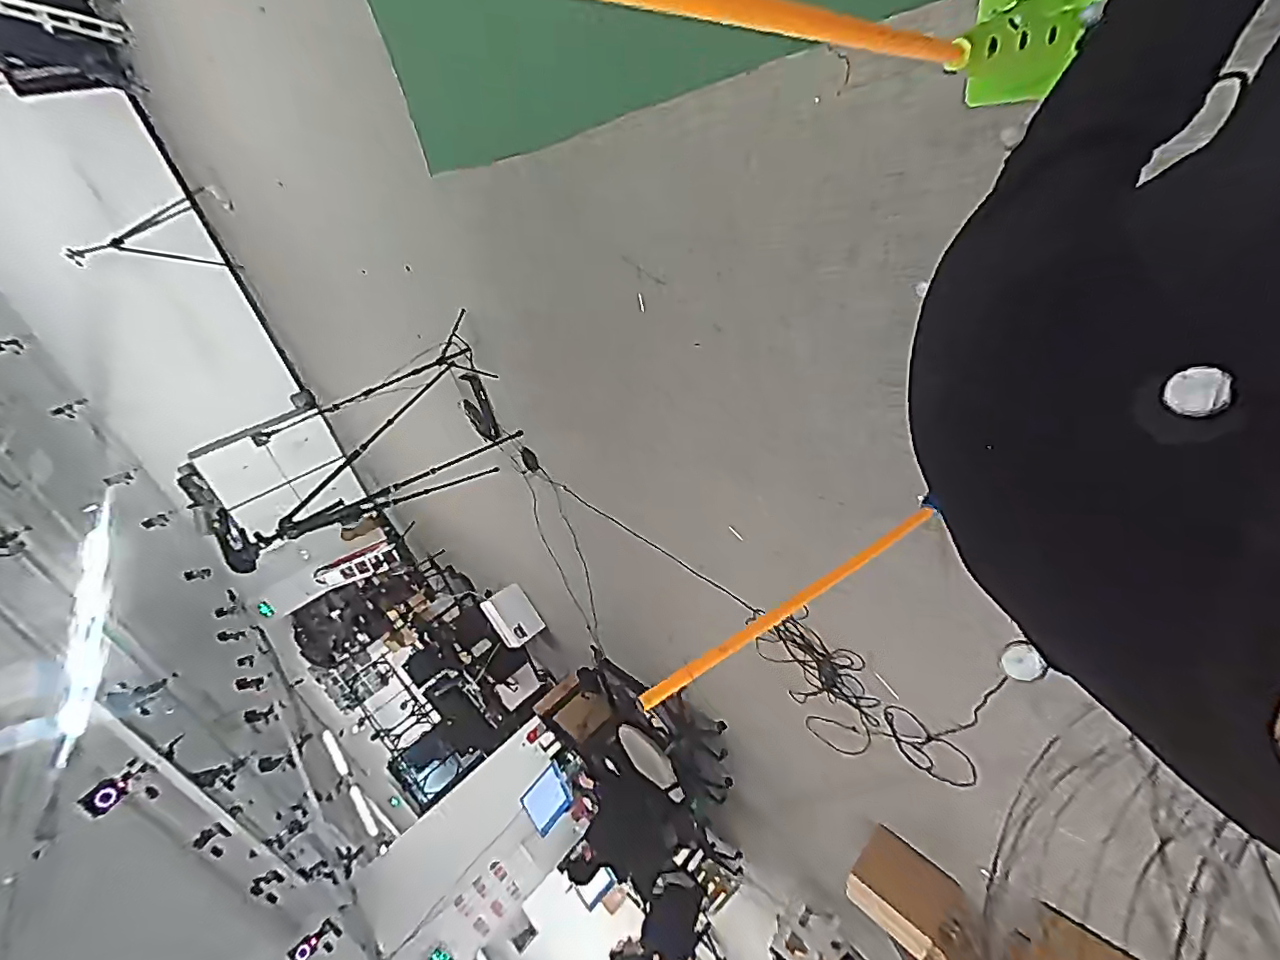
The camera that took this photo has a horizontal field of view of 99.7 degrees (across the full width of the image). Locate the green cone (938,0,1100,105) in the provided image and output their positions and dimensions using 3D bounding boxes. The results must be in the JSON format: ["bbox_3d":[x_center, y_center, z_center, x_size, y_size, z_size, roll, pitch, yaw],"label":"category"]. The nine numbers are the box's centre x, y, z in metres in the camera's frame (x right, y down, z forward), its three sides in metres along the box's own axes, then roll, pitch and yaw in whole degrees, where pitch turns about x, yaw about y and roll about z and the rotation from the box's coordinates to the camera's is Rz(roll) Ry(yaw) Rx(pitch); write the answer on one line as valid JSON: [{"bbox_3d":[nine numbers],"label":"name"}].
[{"bbox_3d":[0.624,-0.765,0.944,0.202,0.368,0.200,25,137,41],"label":"green cone"}]
